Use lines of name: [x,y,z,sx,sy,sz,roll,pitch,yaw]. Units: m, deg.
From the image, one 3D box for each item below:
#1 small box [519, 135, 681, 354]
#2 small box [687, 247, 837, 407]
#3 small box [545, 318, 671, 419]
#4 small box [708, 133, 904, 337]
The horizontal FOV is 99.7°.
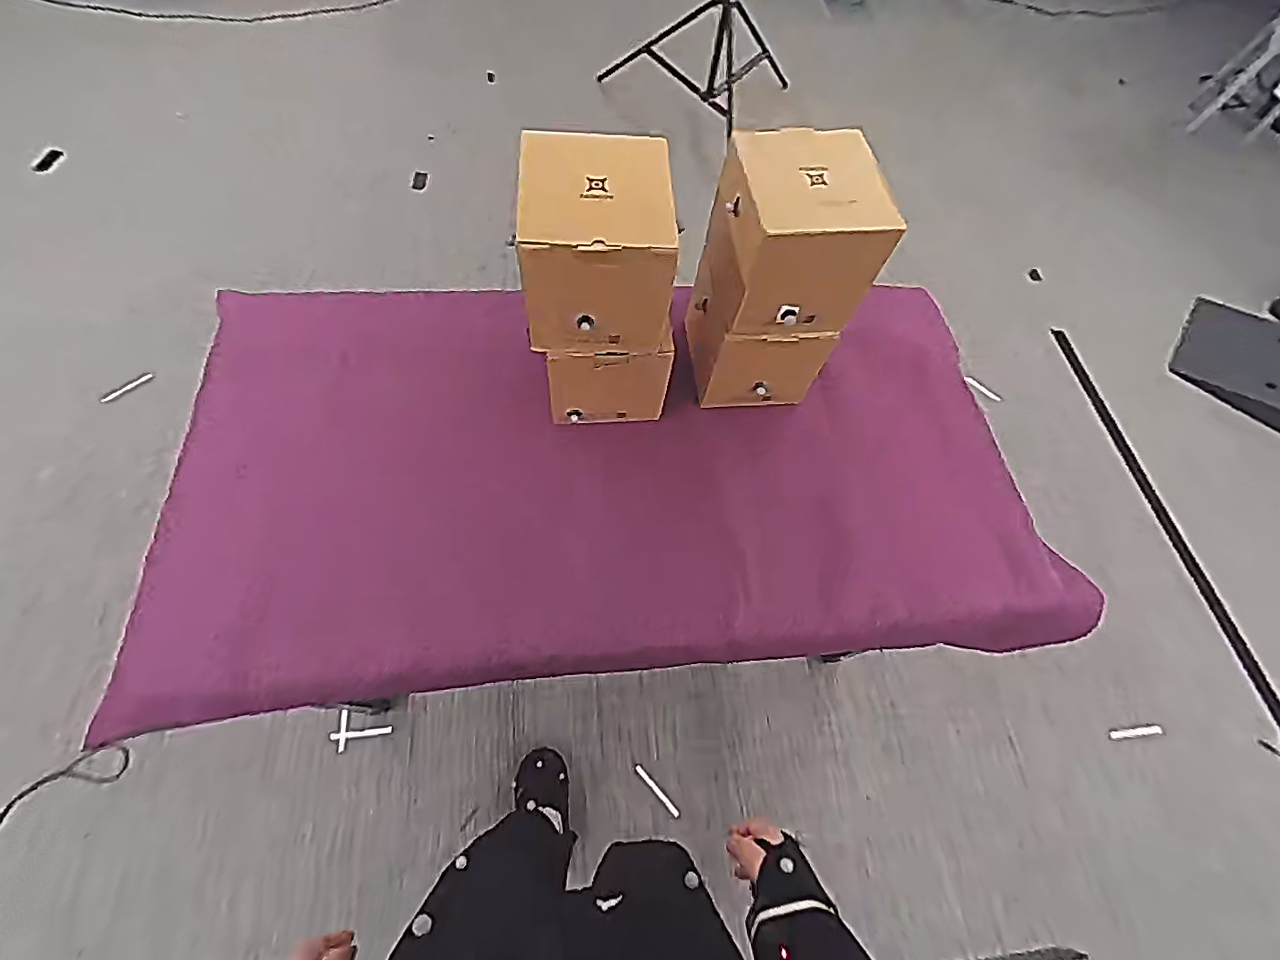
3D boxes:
small box: [-0.052,-0.273,0.649,0.168,0.176,0.179,-1,66,-7]
small box: [0.173,-0.232,0.833,0.168,0.176,0.179,-4,66,-6]
small box: [-0.053,-0.199,0.794,0.168,0.176,0.179,-4,65,-8]
small box: [0.193,-0.307,0.690,0.168,0.176,0.179,-6,66,-8]
